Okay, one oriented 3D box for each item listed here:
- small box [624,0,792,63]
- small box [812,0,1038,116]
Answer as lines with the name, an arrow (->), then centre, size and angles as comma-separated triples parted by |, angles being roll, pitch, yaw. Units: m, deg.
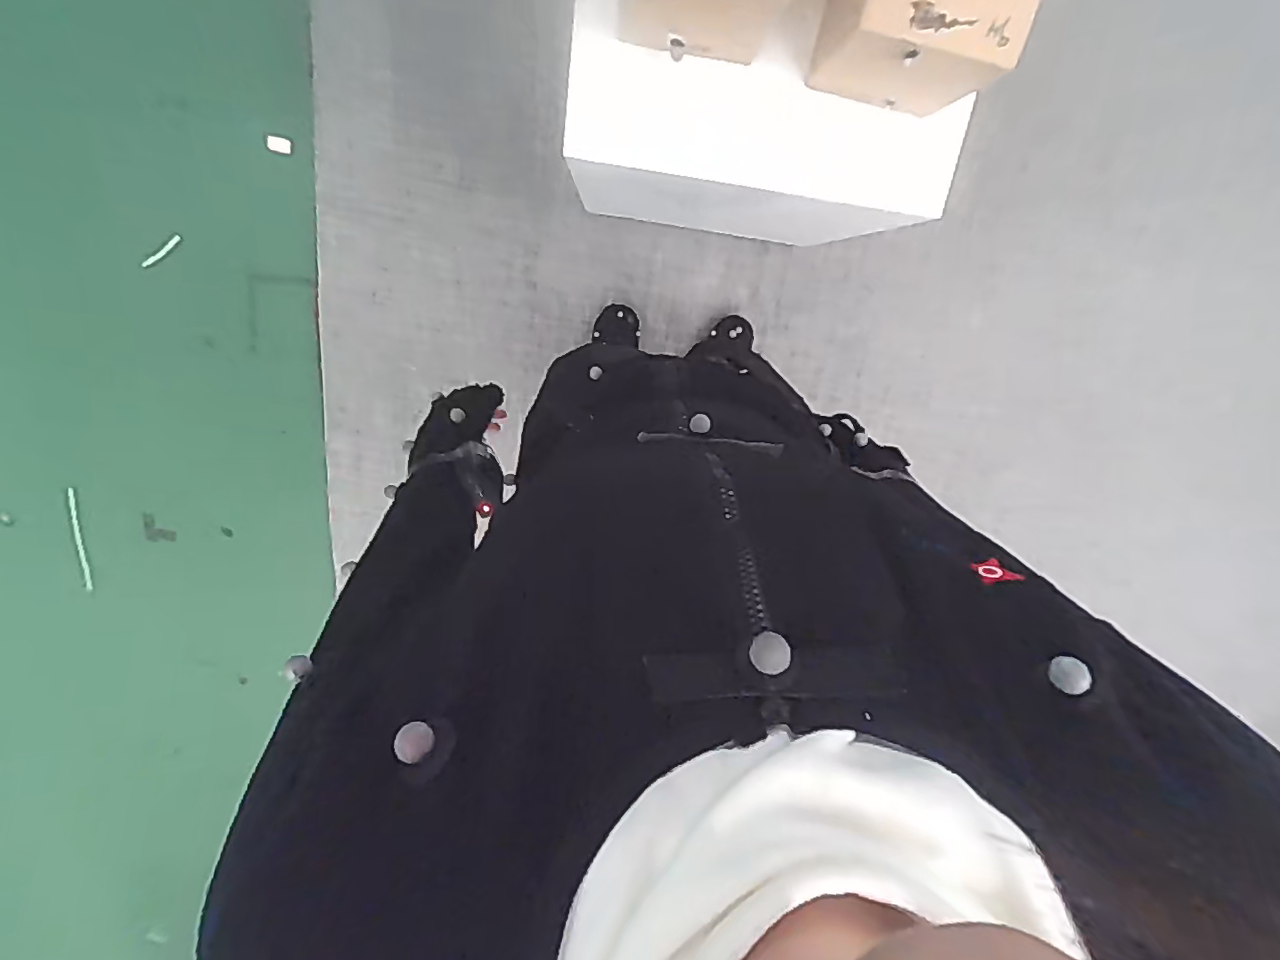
small box -> 0.073, -0.571, 0.554 | 0.168, 0.176, 0.179 | 6, 111, -3
small box -> 0.305, -0.528, 0.575 | 0.168, 0.176, 0.179 | 11, 109, -5
